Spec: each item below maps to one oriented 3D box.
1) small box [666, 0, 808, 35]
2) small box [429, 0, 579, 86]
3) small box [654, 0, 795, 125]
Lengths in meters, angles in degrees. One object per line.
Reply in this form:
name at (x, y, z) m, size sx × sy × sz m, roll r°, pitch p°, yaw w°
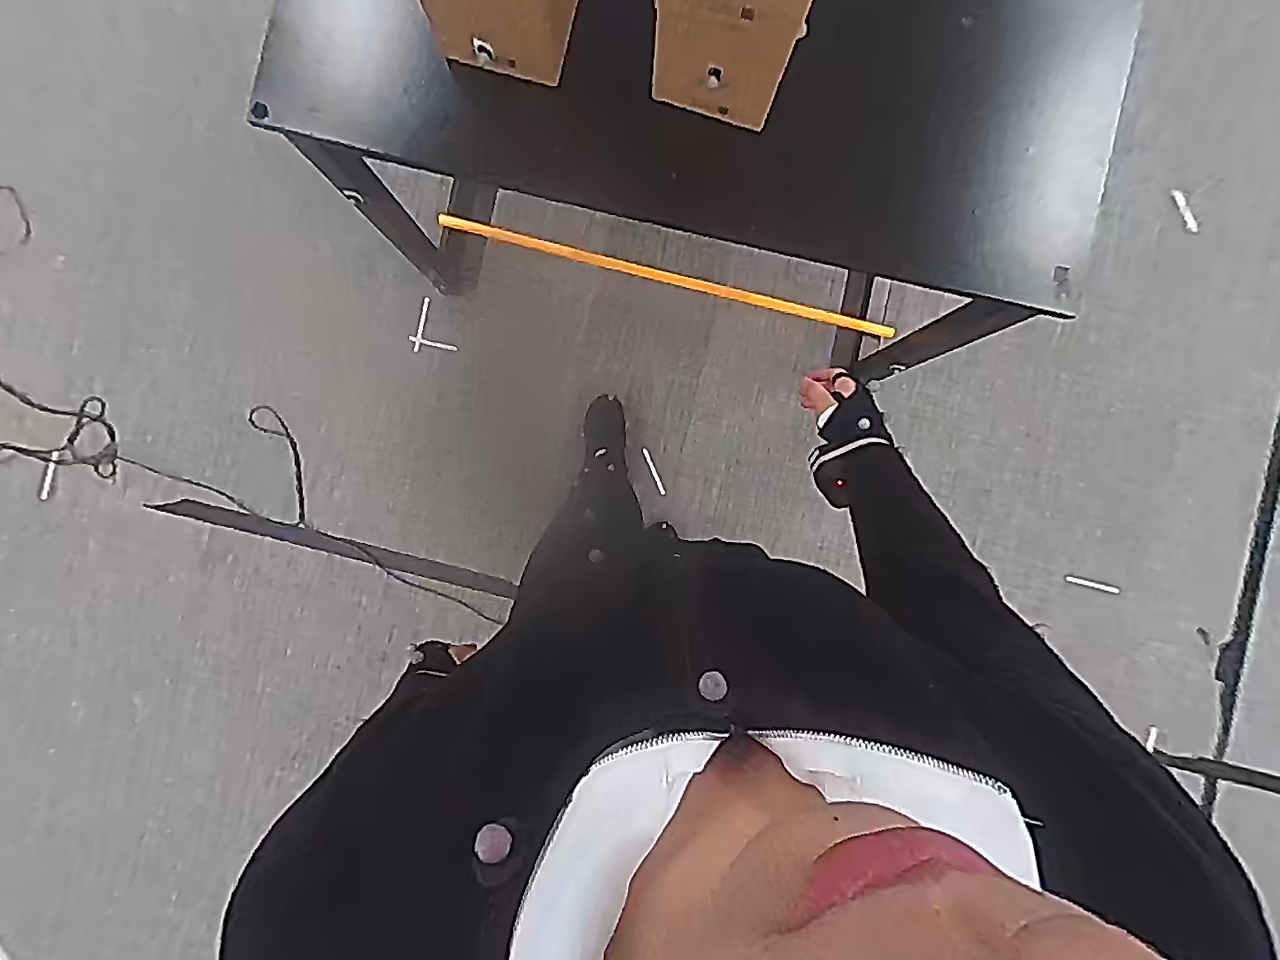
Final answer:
small box at (0.115, -0.598, 0.525) m, size 0.168 × 0.176 × 0.179 m, roll 12°, pitch 89°, yaw 0°
small box at (-0.174, -0.659, 0.686) m, size 0.168 × 0.176 × 0.179 m, roll 13°, pitch 90°, yaw 0°
small box at (0.120, -0.604, 0.691) m, size 0.168 × 0.176 × 0.179 m, roll 17°, pitch 90°, yaw -1°
